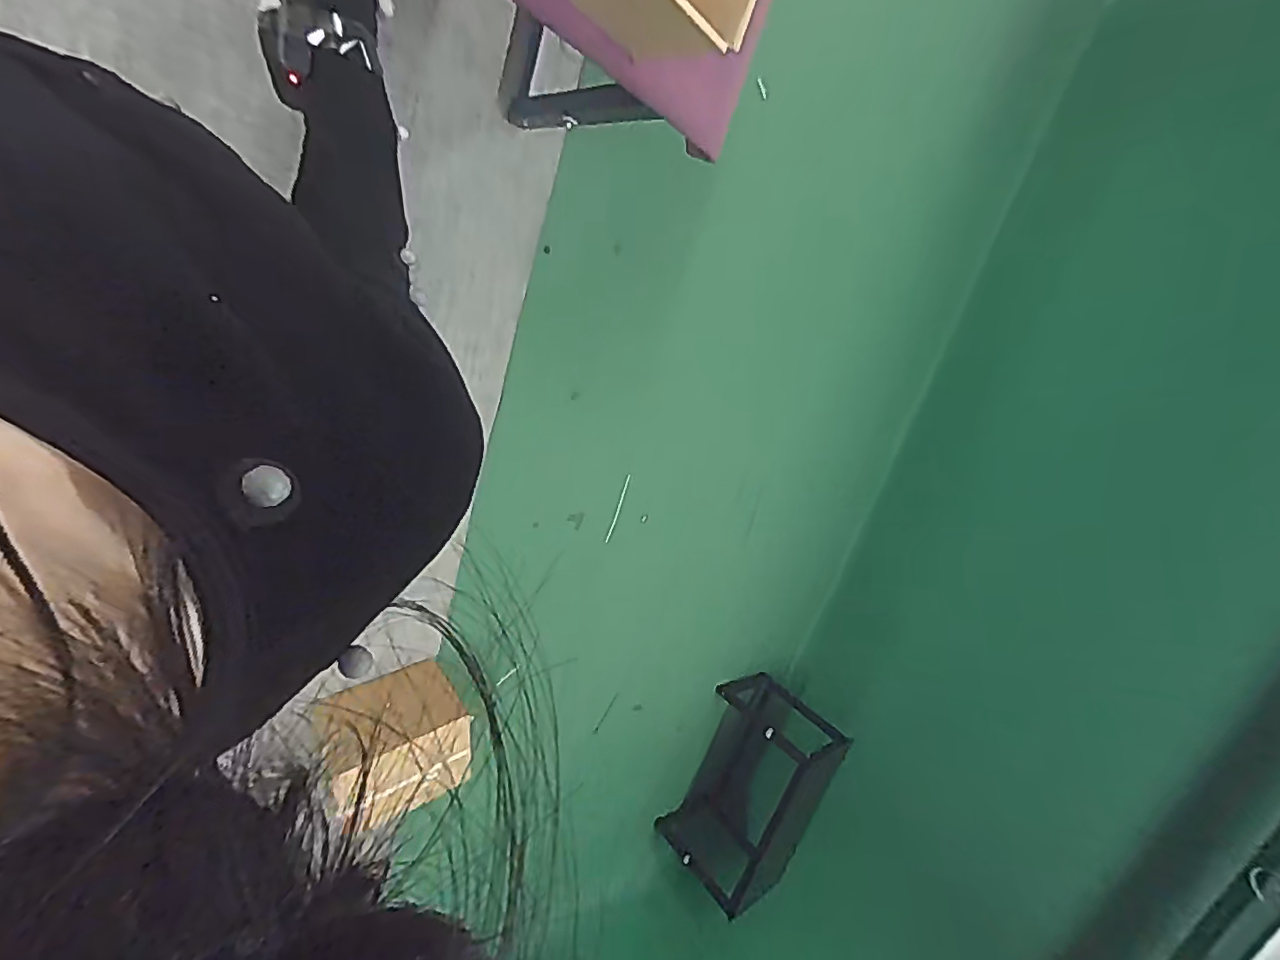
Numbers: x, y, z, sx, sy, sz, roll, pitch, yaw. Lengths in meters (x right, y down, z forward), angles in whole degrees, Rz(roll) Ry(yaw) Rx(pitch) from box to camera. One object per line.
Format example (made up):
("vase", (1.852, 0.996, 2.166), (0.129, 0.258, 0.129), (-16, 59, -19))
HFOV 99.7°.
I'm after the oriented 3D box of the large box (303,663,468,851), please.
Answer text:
("large box", (-0.822, 0.878, 1.770), (0.408, 0.320, 0.320), (-14, 123, -40))
